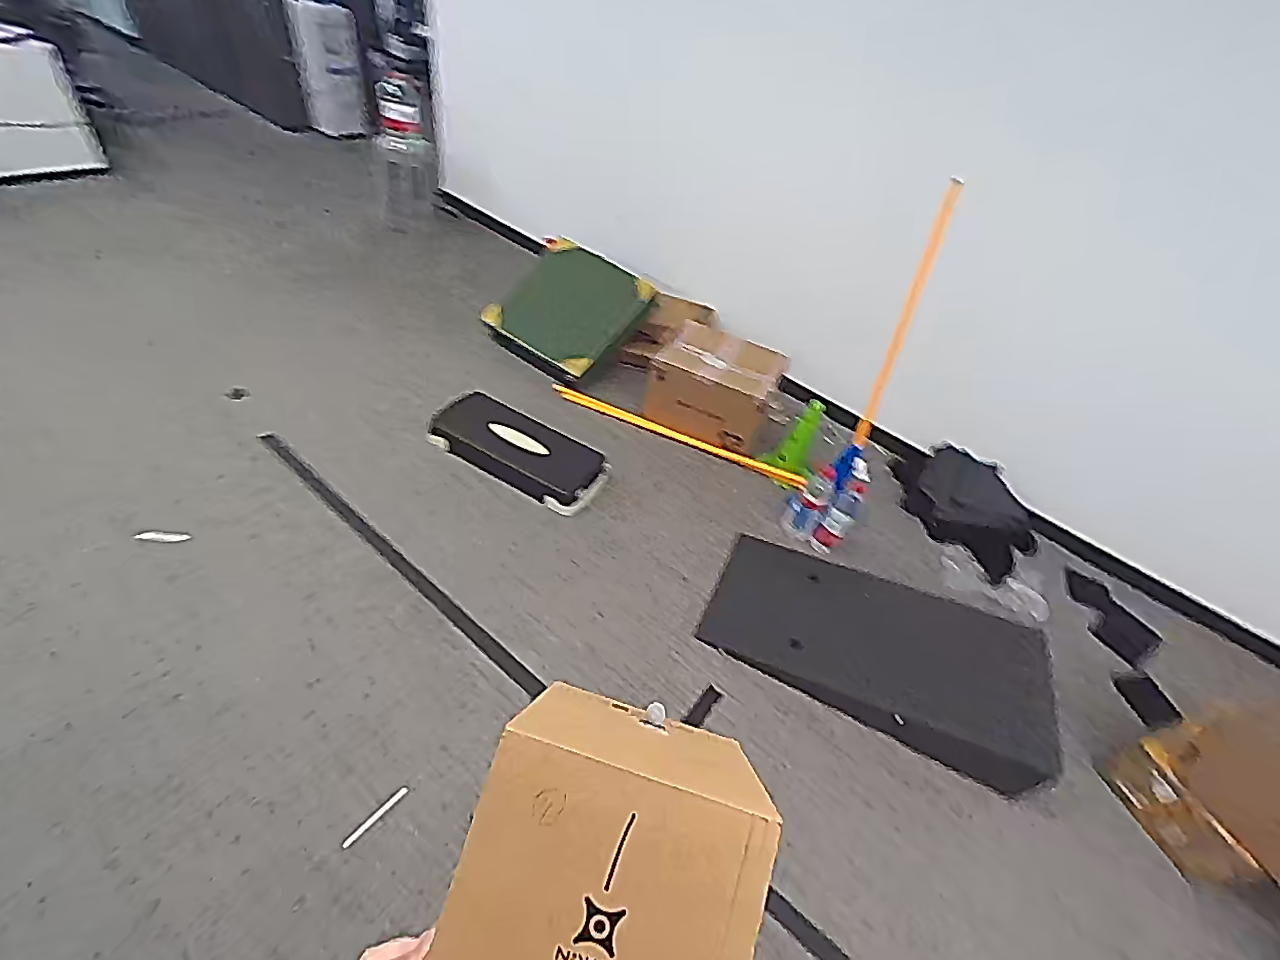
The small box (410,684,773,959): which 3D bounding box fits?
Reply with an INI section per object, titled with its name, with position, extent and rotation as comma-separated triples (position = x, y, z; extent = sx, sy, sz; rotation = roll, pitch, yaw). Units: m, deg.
[small box]
position = -0.028, 0.255, 0.358
extent = 0.168, 0.176, 0.179
rotation = 17, 77, 4
